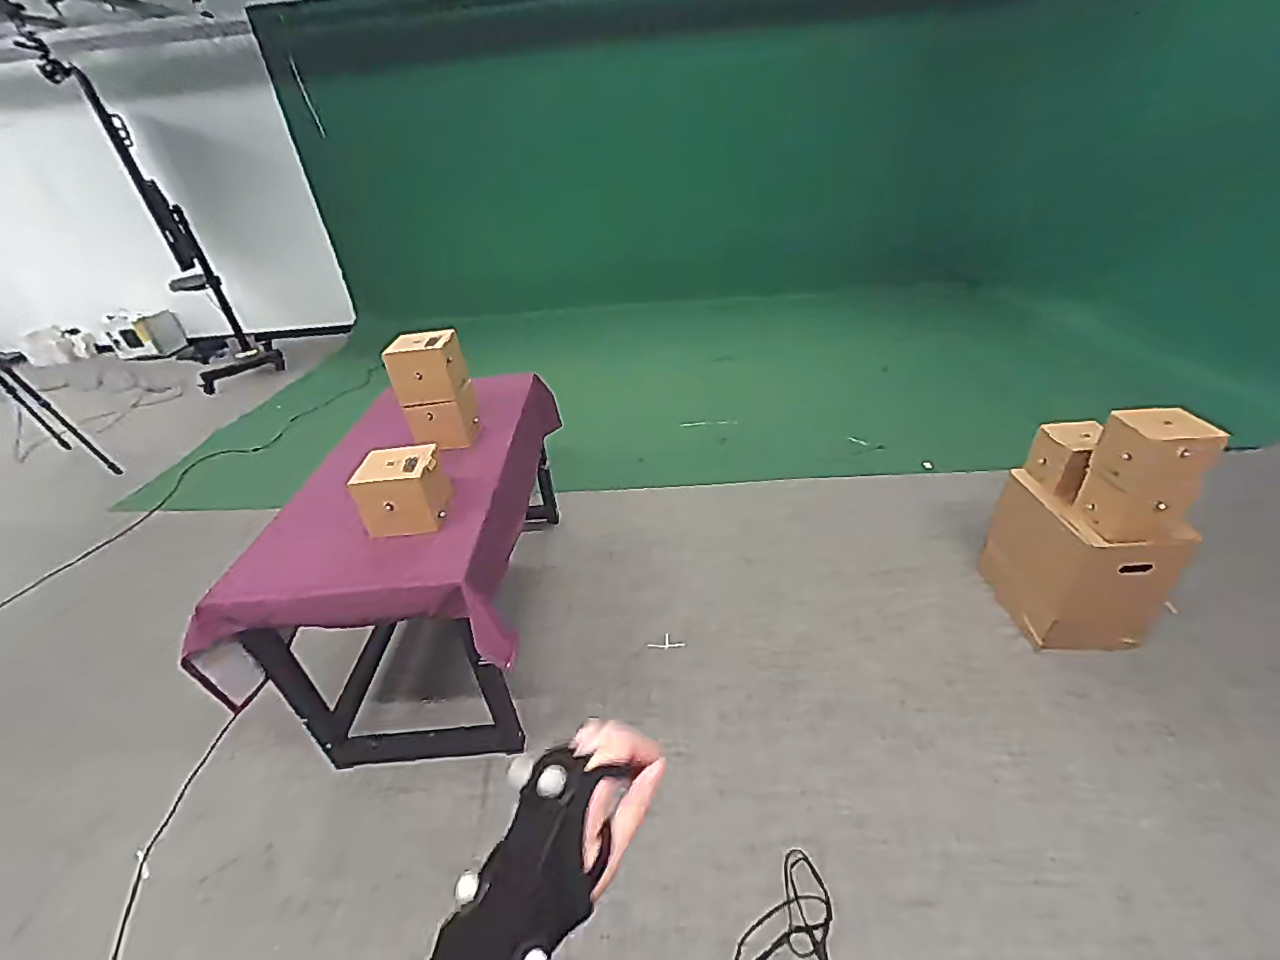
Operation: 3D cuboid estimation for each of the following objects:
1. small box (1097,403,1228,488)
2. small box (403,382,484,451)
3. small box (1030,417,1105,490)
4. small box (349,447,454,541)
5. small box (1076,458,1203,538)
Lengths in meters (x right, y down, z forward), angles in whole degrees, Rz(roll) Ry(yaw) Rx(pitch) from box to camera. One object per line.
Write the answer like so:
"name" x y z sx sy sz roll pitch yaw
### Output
"small box" 1.366 -0.088 1.435 0.179 0.176 0.168 -3 33 5
"small box" -0.628 -0.201 1.748 0.179 0.176 0.168 -4 34 4
"small box" 1.381 -0.081 1.717 0.179 0.176 0.168 -5 35 5
"small box" -0.599 0.036 1.386 0.179 0.176 0.168 -7 33 1
"small box" 1.392 0.047 1.523 0.179 0.176 0.168 -4 32 4
